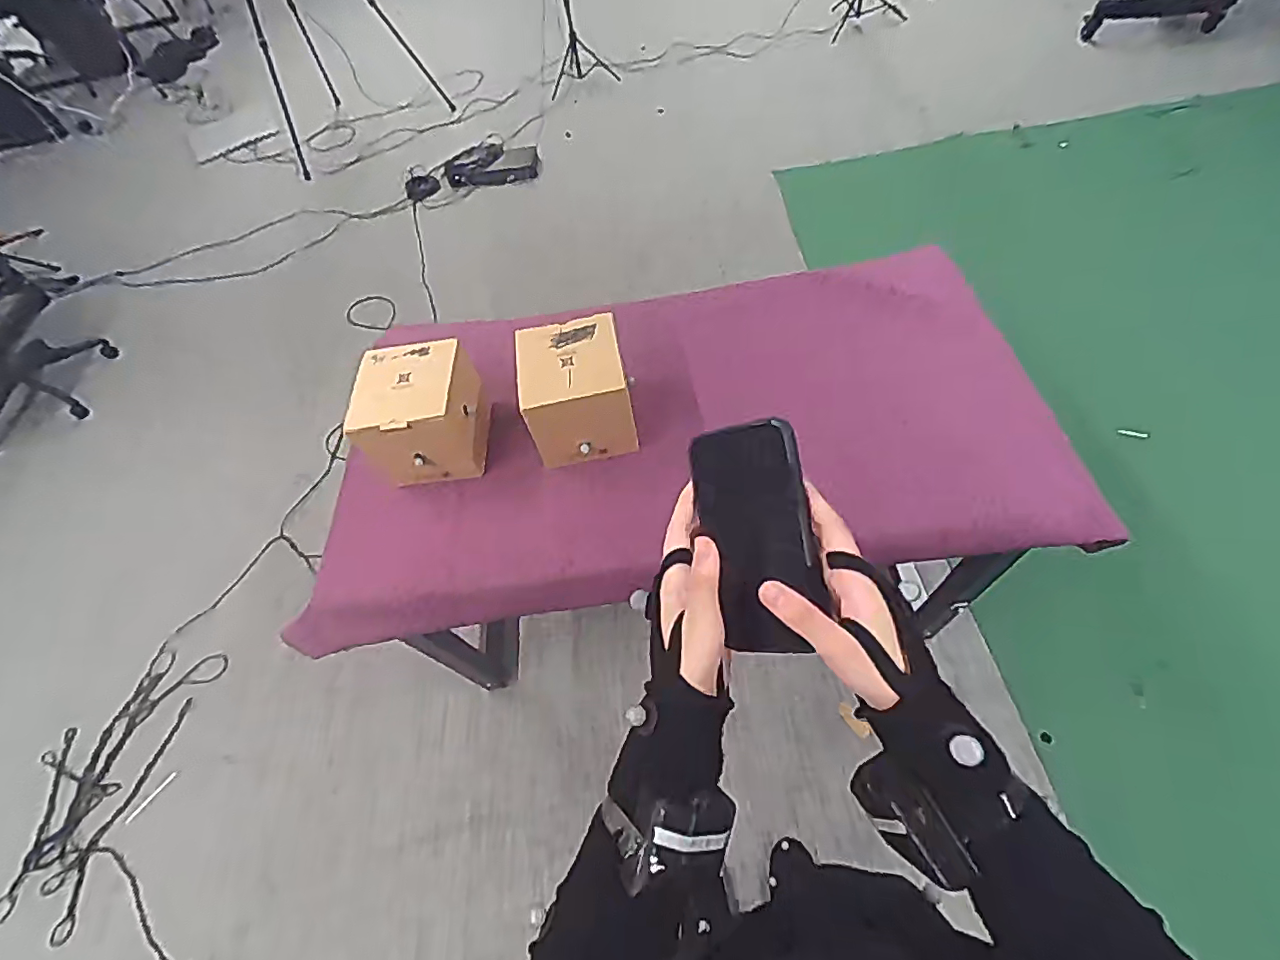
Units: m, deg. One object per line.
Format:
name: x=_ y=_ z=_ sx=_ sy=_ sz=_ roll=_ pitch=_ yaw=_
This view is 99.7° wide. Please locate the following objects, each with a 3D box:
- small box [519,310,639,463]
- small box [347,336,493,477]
small box: x=-0.101 y=-0.155 z=0.920 sx=0.168 sy=0.176 sz=0.179 roll=-12 pitch=58 yaw=2
small box: x=-0.366 y=-0.118 z=0.937 sx=0.168 sy=0.176 sz=0.179 roll=-7 pitch=58 yaw=4
